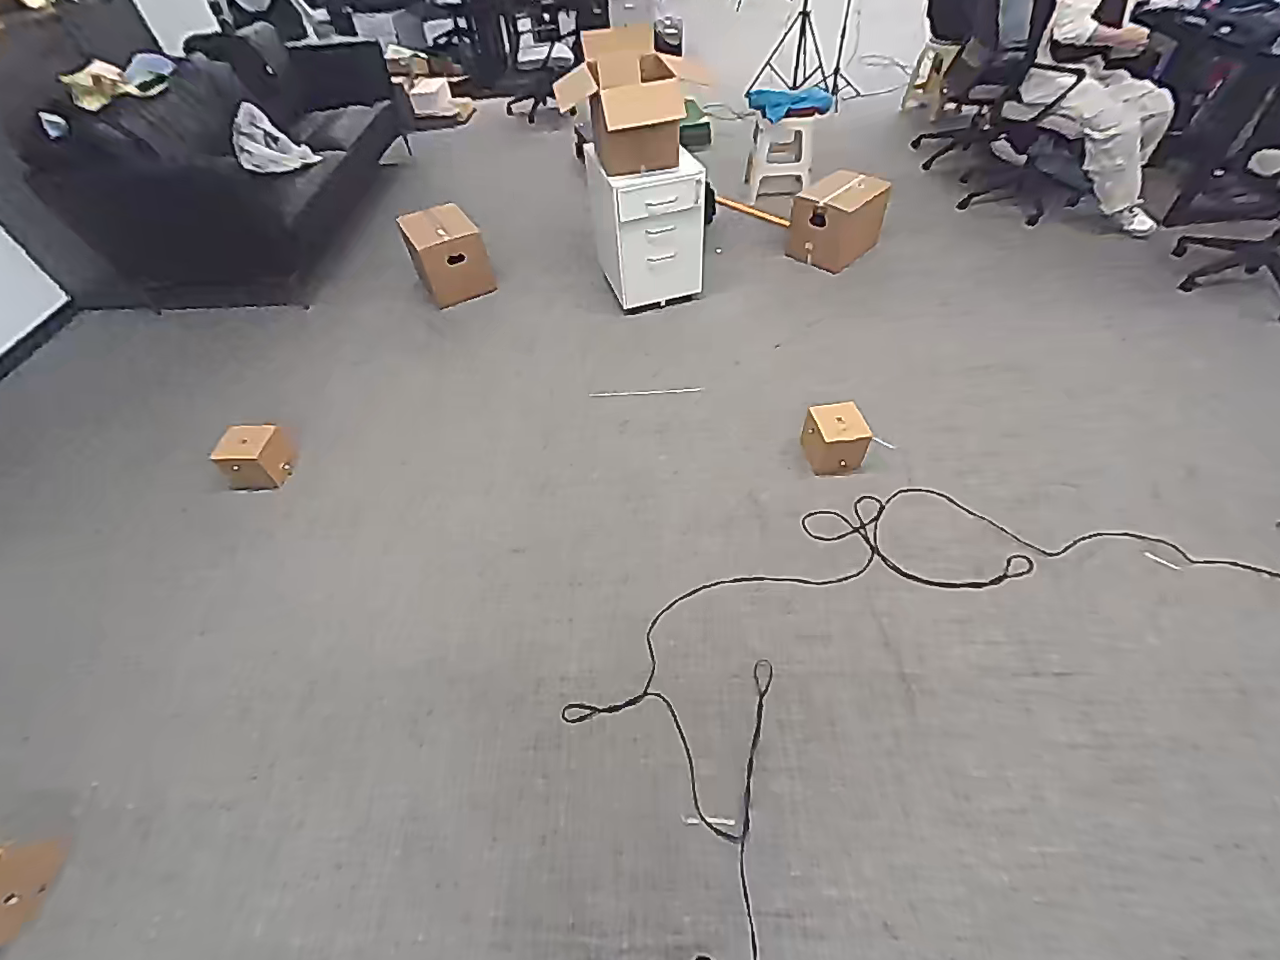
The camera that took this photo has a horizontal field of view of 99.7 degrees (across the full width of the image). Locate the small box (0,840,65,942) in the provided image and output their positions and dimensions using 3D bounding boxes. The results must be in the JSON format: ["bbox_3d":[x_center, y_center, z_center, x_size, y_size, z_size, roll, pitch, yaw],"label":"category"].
[{"bbox_3d":[-1.448,0.897,1.179,0.179,0.176,0.168,8,51,10],"label":"small box"}]

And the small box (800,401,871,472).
[{"bbox_3d":[0.678,-0.152,1.900,0.168,0.176,0.179,-8,51,-3],"label":"small box"}]

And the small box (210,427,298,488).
[{"bbox_3d":[-1.427,-0.080,2.011,0.179,0.176,0.168,-1,51,2],"label":"small box"}]
